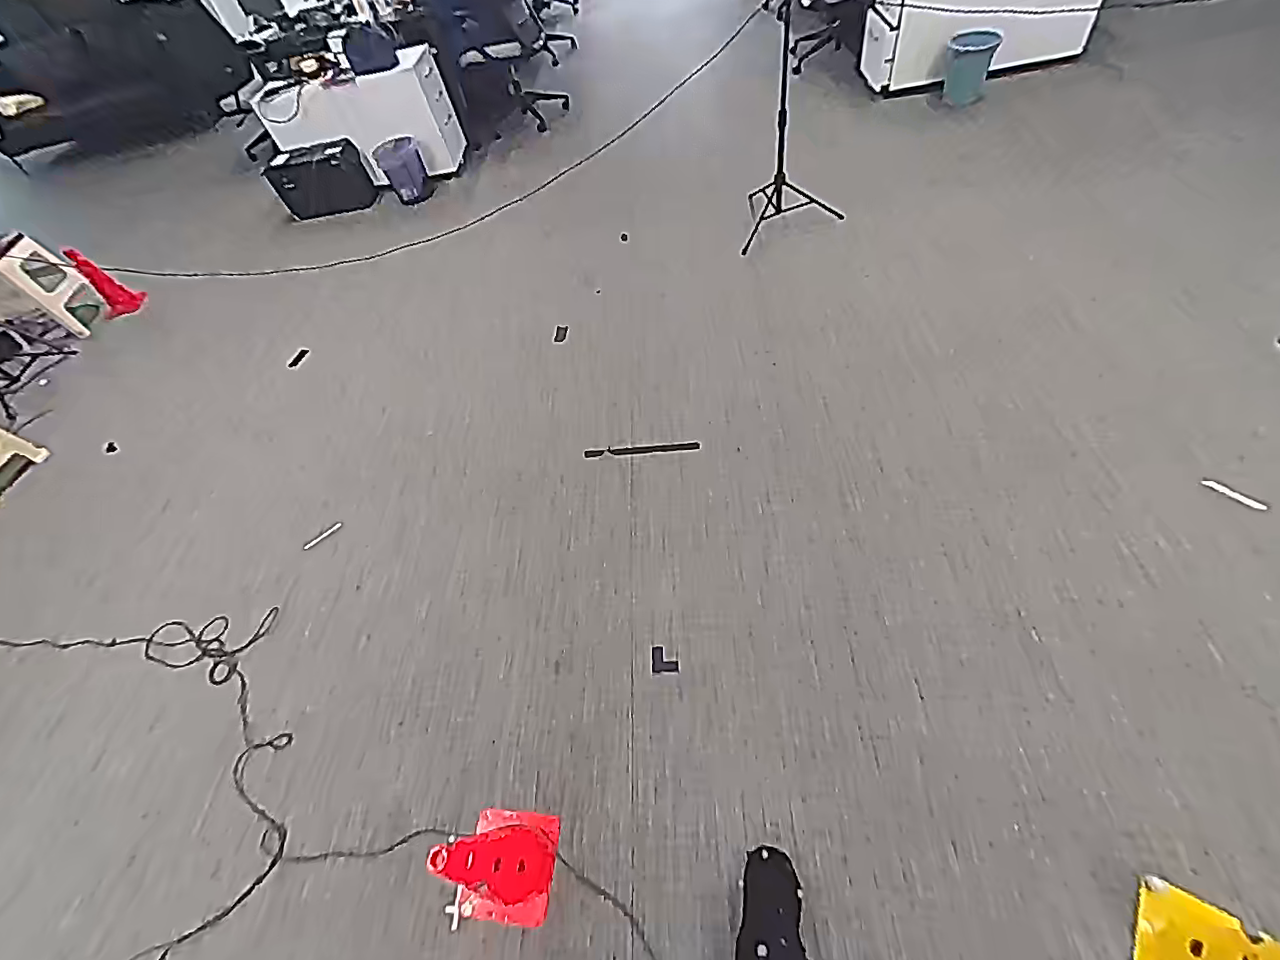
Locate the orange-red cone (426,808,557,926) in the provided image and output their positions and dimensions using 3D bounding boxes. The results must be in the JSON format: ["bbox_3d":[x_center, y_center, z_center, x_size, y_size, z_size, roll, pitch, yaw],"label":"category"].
[{"bbox_3d":[-0.318,0.750,1.061,0.199,0.360,0.198,1,55,11],"label":"orange-red cone"}]
